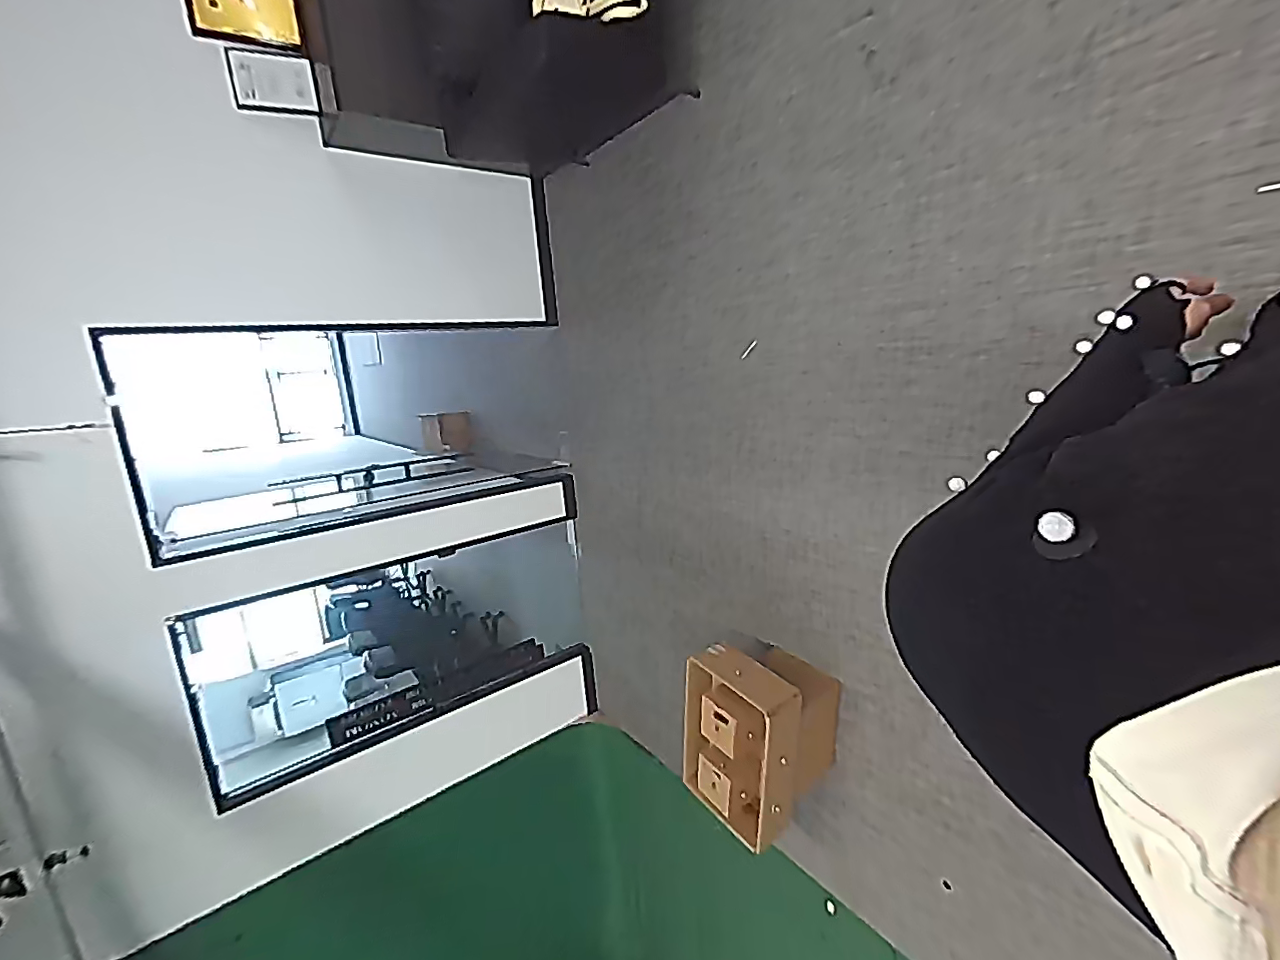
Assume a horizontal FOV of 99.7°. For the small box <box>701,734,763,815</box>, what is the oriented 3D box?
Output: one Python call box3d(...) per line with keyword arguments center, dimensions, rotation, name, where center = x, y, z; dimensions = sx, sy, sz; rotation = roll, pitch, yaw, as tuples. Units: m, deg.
box3d(center=(0.348, 1.107, 2.044), dimensions=(0.168, 0.176, 0.179), rotation=(22, 119, 50), name="small box")
